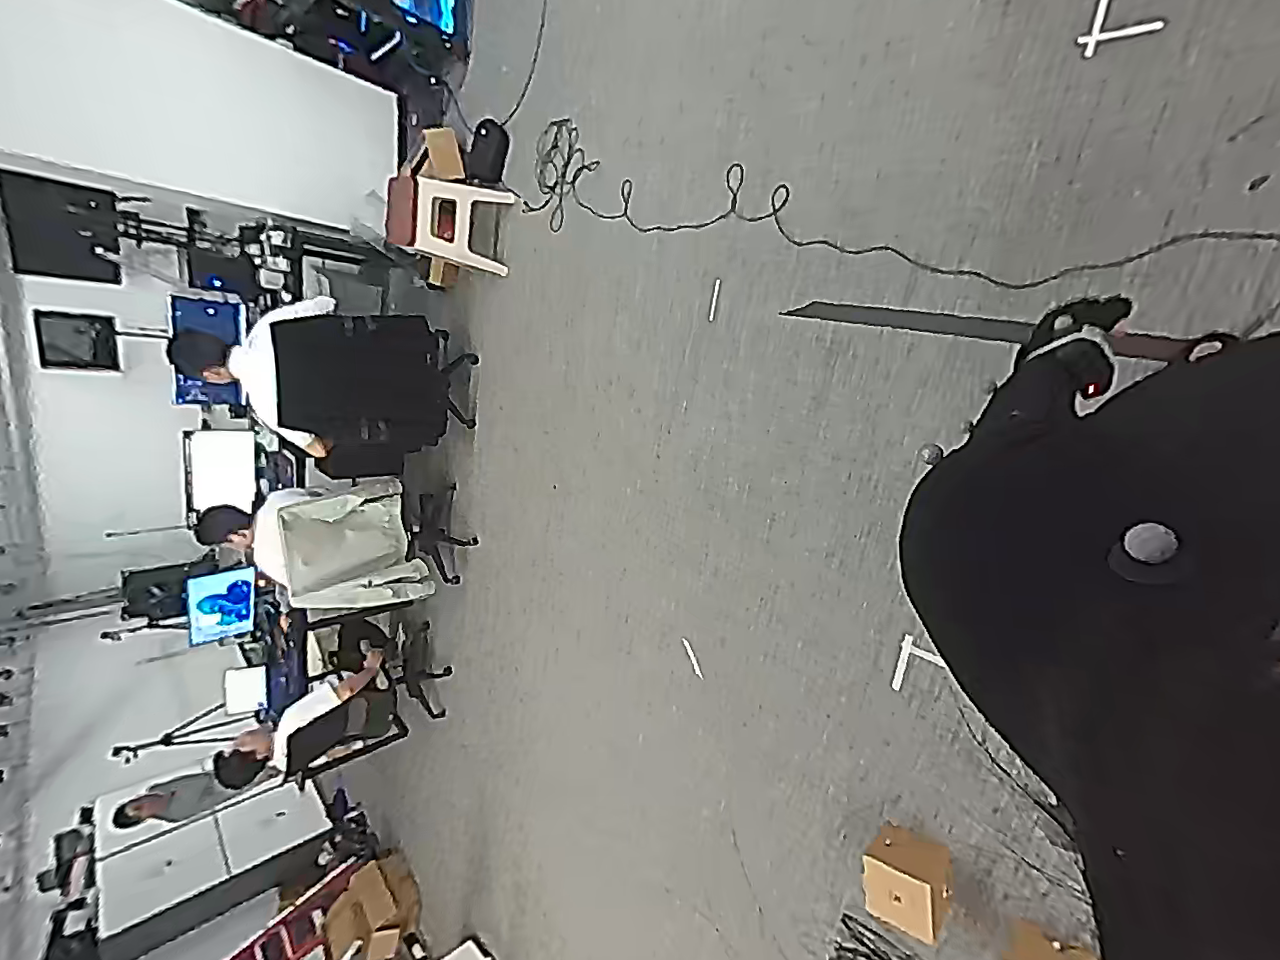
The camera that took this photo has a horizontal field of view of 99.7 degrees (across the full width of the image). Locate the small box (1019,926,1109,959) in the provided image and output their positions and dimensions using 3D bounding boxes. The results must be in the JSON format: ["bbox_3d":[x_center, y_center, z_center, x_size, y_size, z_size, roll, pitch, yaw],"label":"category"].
[{"bbox_3d":[0.986,1.198,1.241,0.168,0.176,0.179,-4,92,45],"label":"small box"}]

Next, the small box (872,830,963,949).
[{"bbox_3d":[0.754,1.094,1.468,0.179,0.176,0.168,-3,94,45],"label":"small box"}]
